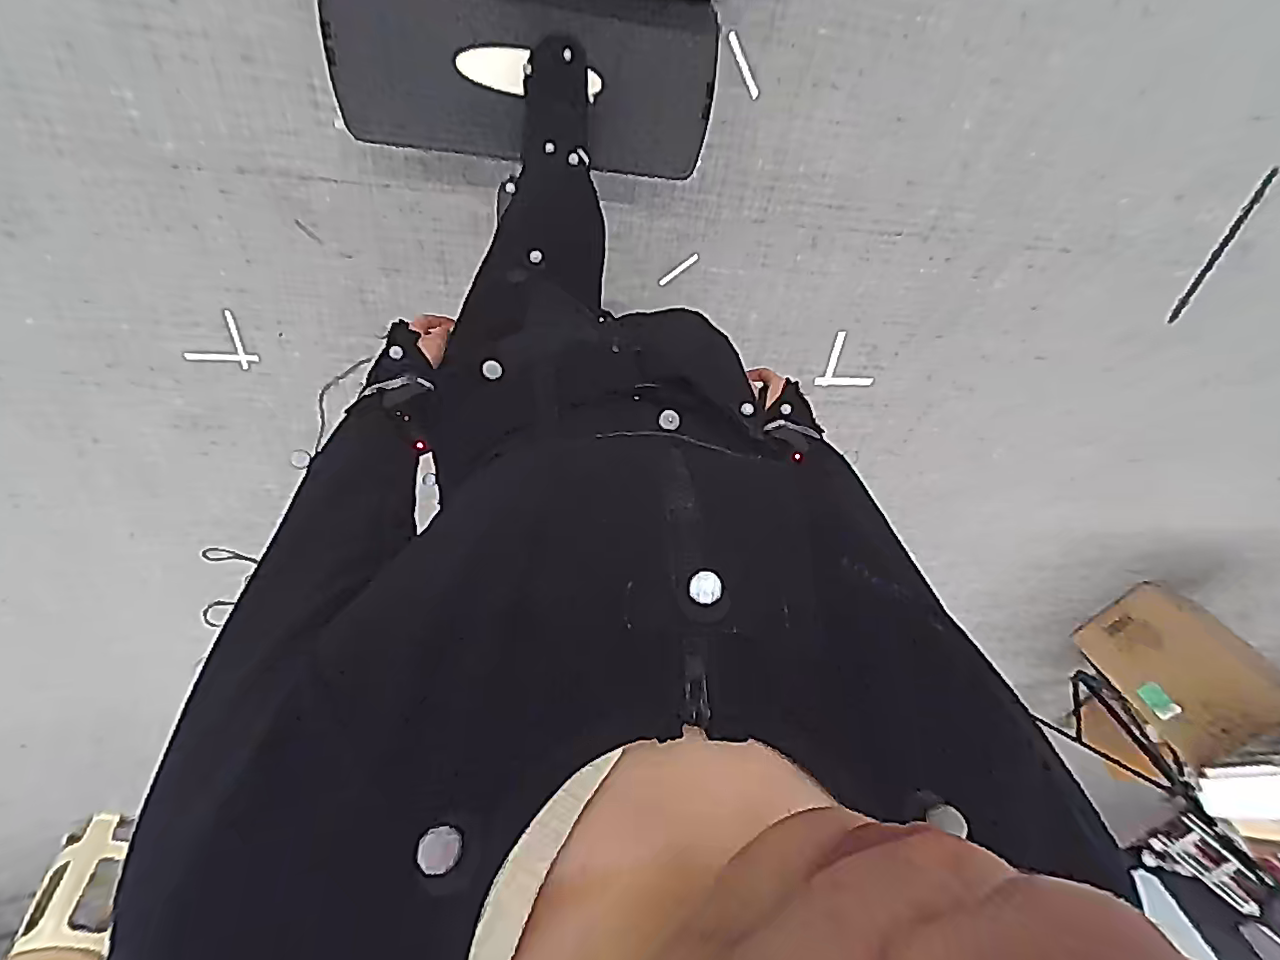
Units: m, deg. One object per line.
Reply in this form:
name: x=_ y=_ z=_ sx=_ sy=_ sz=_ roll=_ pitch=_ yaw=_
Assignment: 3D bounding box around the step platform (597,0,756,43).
step platform: x=-0.121 y=-0.910 z=0.803 sx=0.684 sy=0.204 sz=0.286 roll=4 pitch=124 yaw=-14
